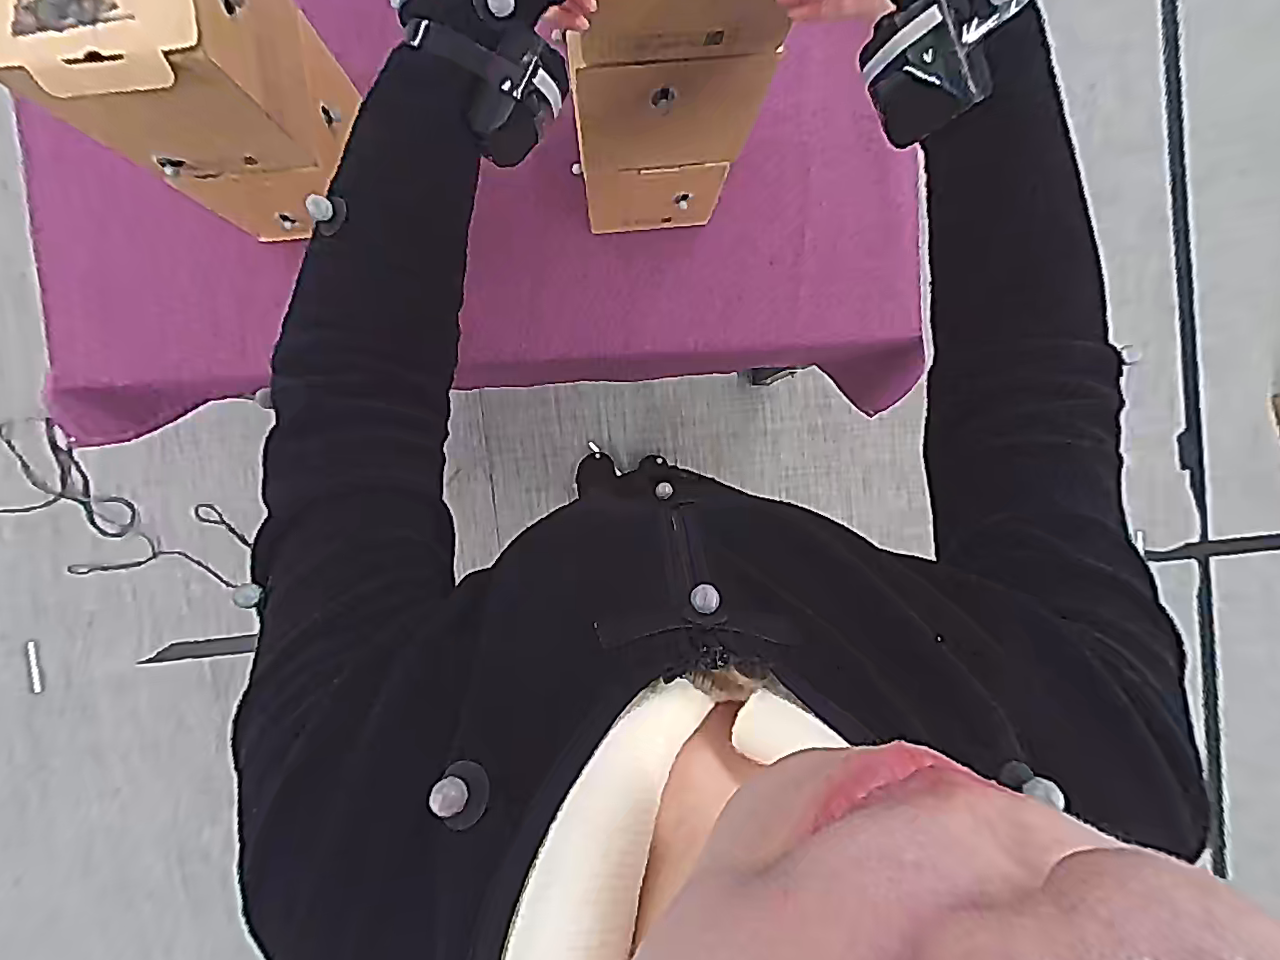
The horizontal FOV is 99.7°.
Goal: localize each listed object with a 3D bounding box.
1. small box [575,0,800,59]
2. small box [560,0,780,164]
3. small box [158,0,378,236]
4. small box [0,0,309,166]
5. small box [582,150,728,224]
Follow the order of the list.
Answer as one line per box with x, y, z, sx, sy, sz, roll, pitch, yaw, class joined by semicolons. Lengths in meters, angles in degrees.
0.031;-0.421;0.347;0.168;0.176;0.179;-6;94;-3;small box
0.017;-0.425;0.511;0.179;0.176;0.168;-6;94;-3;small box
-0.440;-0.420;0.652;0.168;0.176;0.179;-6;94;-3;small box
-0.432;-0.411;0.488;0.168;0.176;0.179;-8;93;-3;small box
0.008;-0.437;0.674;0.168;0.176;0.179;-5;93;-3;small box
